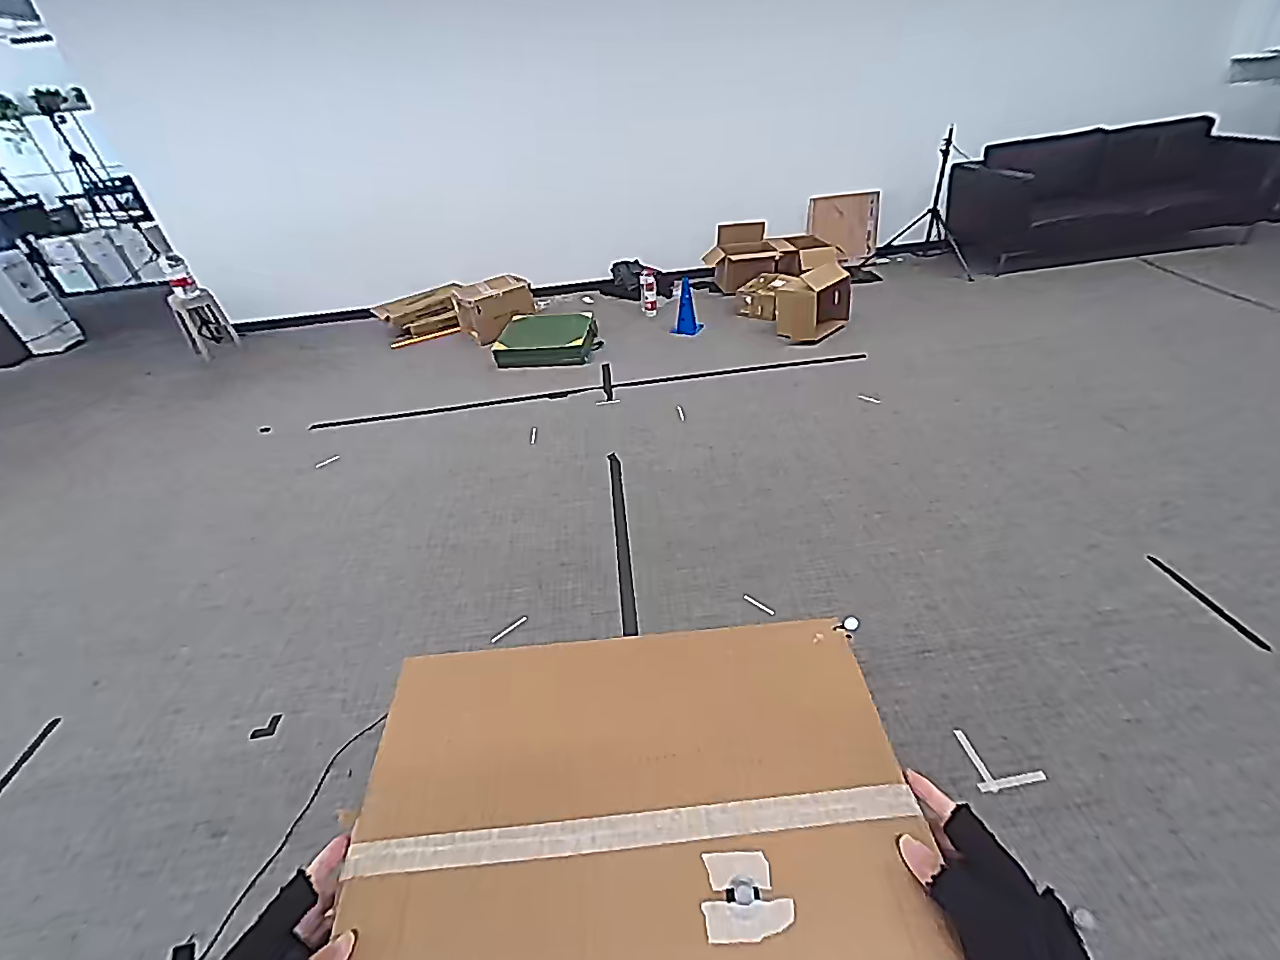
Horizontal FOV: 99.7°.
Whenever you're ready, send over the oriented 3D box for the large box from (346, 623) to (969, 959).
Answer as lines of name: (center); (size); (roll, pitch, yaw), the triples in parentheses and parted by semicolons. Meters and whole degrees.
large box: (0.005, 0.367, 0.499); (0.408, 0.320, 0.320); (-4, 43, -2)
